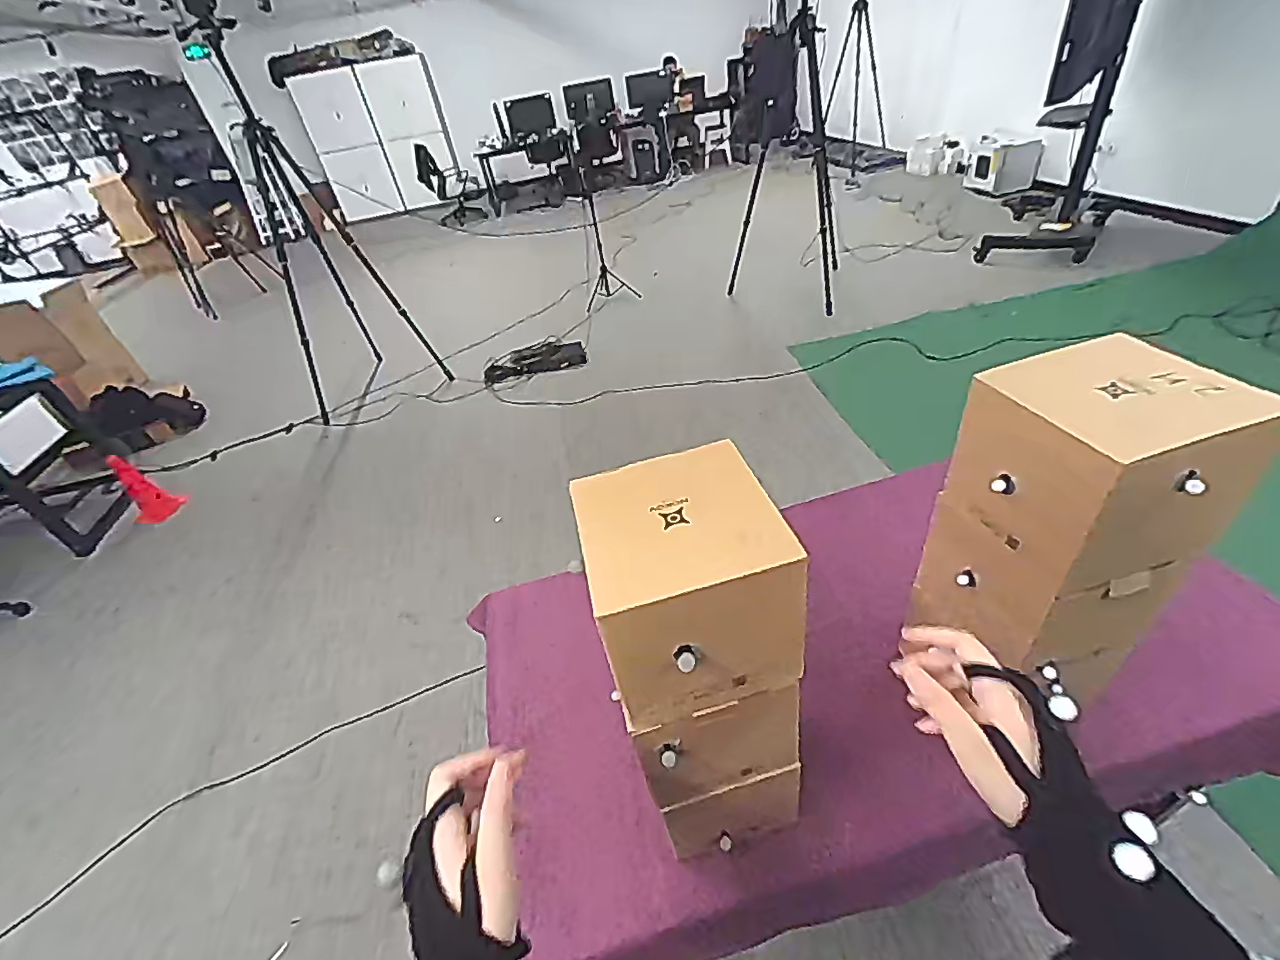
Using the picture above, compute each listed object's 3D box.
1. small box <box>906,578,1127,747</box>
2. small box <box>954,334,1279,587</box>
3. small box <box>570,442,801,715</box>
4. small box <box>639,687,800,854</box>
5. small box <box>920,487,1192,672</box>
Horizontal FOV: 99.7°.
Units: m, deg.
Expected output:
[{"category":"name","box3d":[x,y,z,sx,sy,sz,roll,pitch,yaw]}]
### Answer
[{"category":"small box","box3d":[0.497,0.231,0.751,0.168,0.176,0.179,-17,38,-4]},{"category":"small box","box3d":[0.448,-0.019,0.542,0.179,0.176,0.168,-16,40,-5]},{"category":"small box","box3d":[0.042,0.095,0.512,0.168,0.176,0.179,-16,37,-4]},{"category":"small box","box3d":[0.095,0.349,0.712,0.168,0.176,0.179,-16,40,-4]},{"category":"small box","box3d":[0.471,0.105,0.649,0.168,0.176,0.179,-16,38,-6]}]
